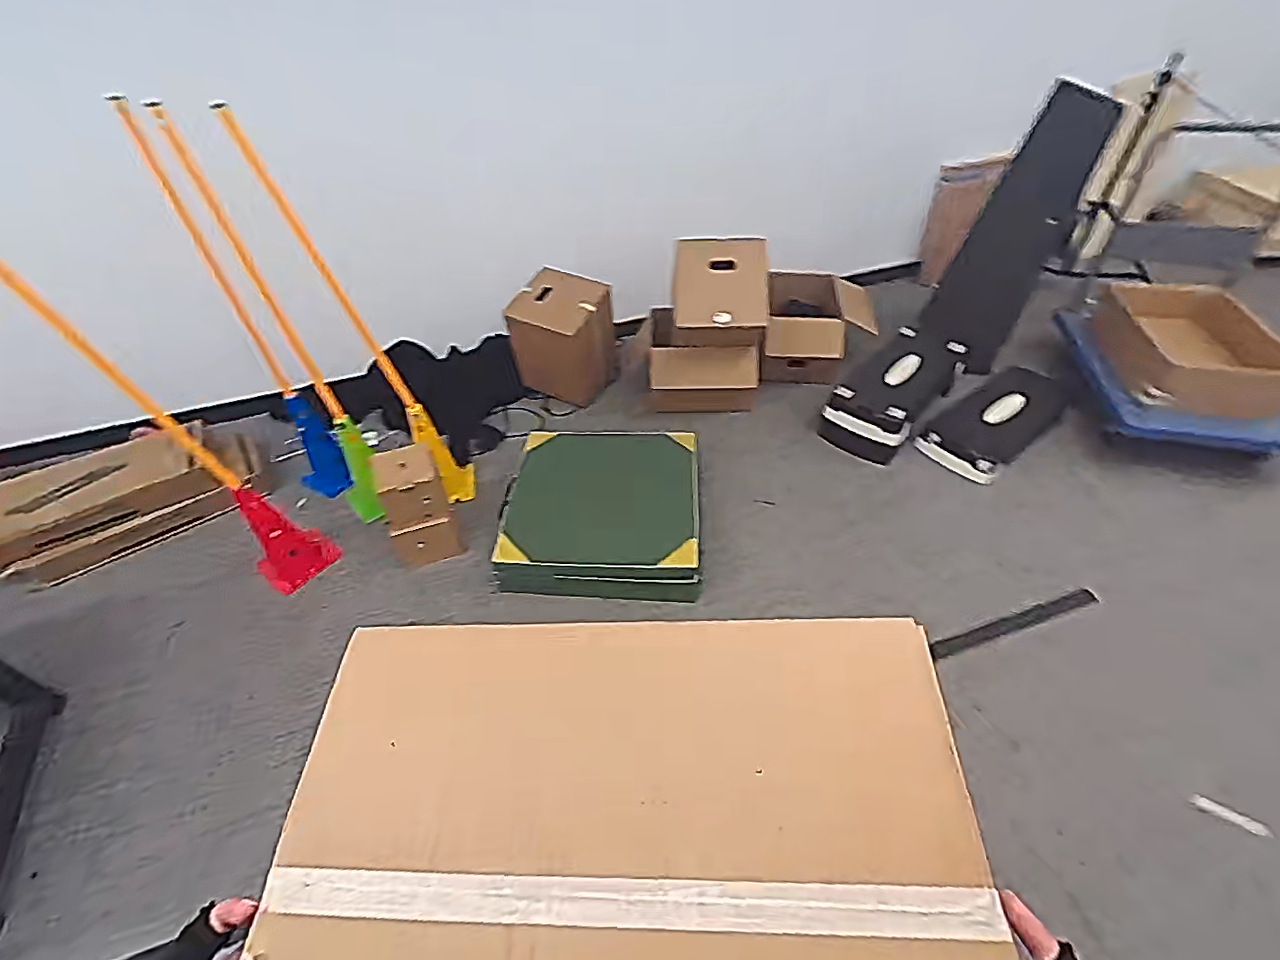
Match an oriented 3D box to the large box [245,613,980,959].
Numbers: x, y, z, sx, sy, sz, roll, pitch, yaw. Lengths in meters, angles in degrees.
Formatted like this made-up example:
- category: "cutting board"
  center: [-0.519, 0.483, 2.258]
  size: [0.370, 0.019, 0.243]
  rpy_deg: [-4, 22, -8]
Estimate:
- category: "large box"
  center: [-0.006, 0.316, 0.428]
  size: [0.408, 0.320, 0.320]
  rpy_deg: [-3, 53, 6]
